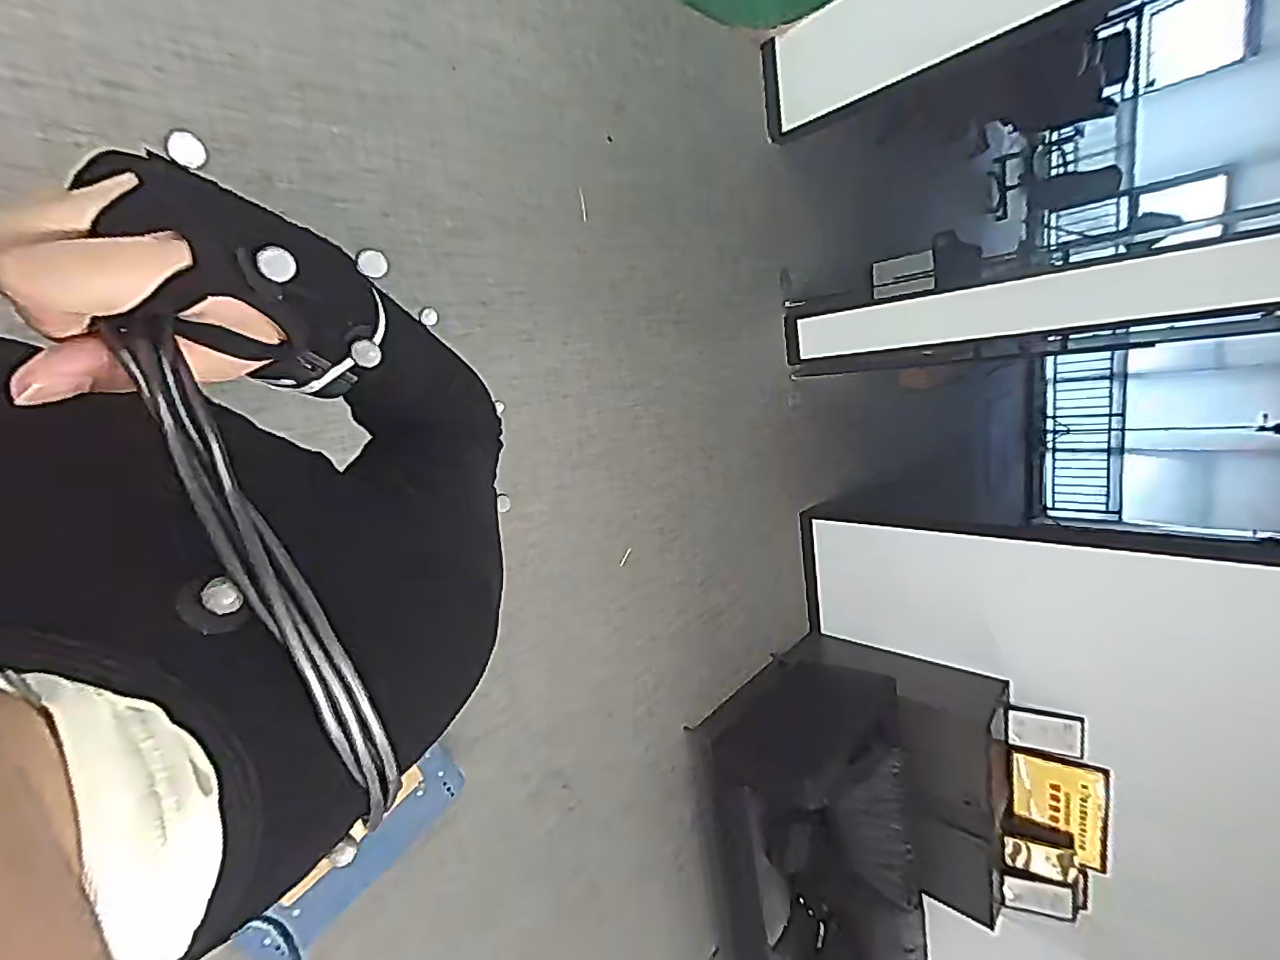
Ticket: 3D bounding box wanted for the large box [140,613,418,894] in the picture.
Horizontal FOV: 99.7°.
[{"bbox_3d":[-0.773,0.565,1.180,0.320,0.320,0.408,-37,119,-38],"label":"large box"}]
